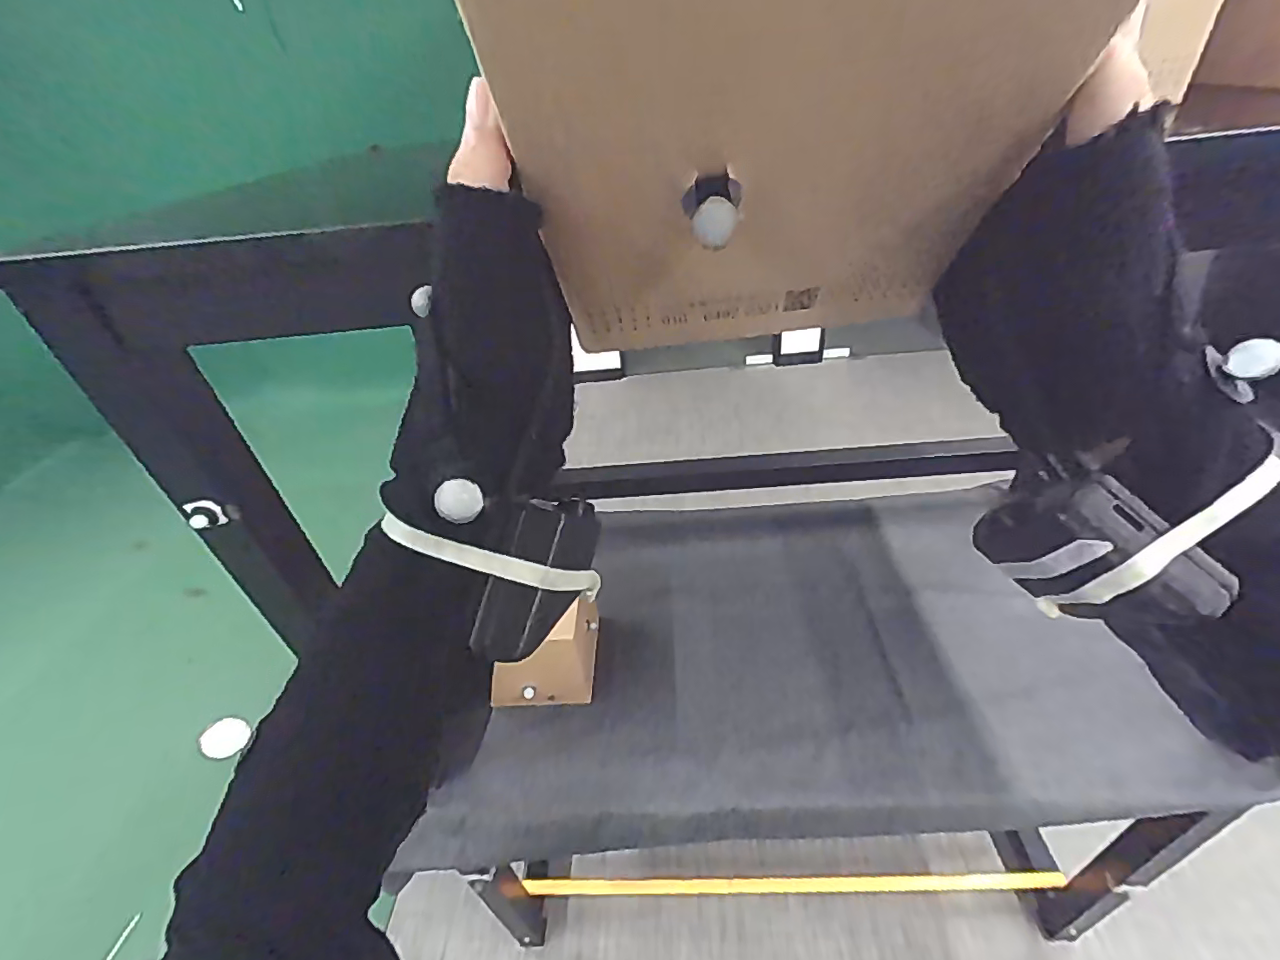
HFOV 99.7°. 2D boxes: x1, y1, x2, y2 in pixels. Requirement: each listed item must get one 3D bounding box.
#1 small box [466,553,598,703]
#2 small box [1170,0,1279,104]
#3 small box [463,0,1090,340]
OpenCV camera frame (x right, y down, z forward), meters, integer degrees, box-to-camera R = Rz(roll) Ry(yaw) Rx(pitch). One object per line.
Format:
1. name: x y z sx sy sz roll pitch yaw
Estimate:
1. small box: -0.165 0.241 0.889 0.168 0.176 0.179 -4 37 4
2. small box: 0.517 -0.354 0.350 0.168 0.176 0.179 3 37 13
3. small box: 0.039 -0.173 0.224 0.168 0.176 0.179 -6 73 3
